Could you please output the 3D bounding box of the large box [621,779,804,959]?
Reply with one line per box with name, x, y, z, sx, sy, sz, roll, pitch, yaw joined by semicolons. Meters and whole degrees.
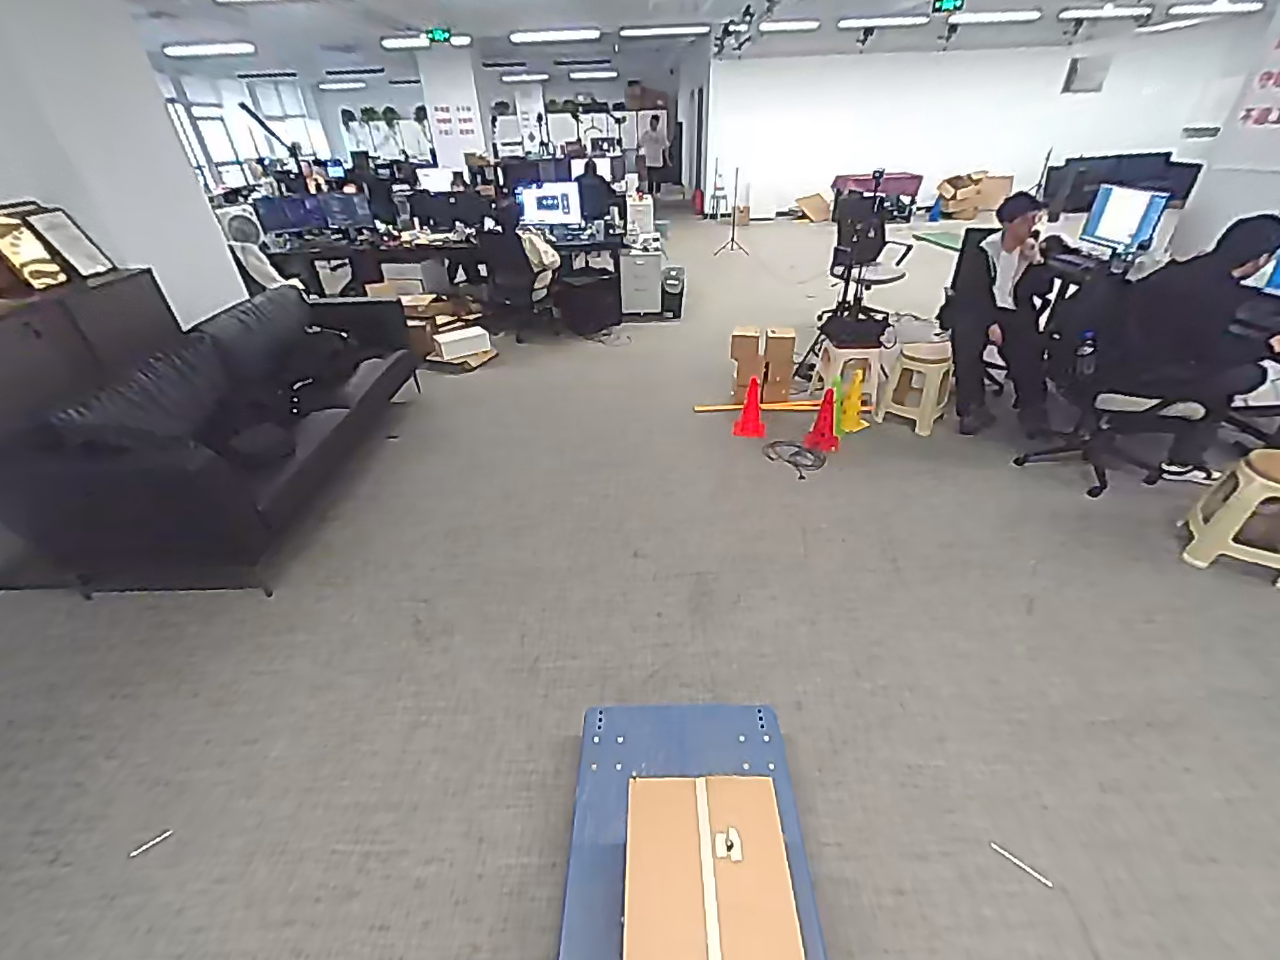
large box;0.130;0.890;1.091;0.320;0.320;0.408;-1;32;1
